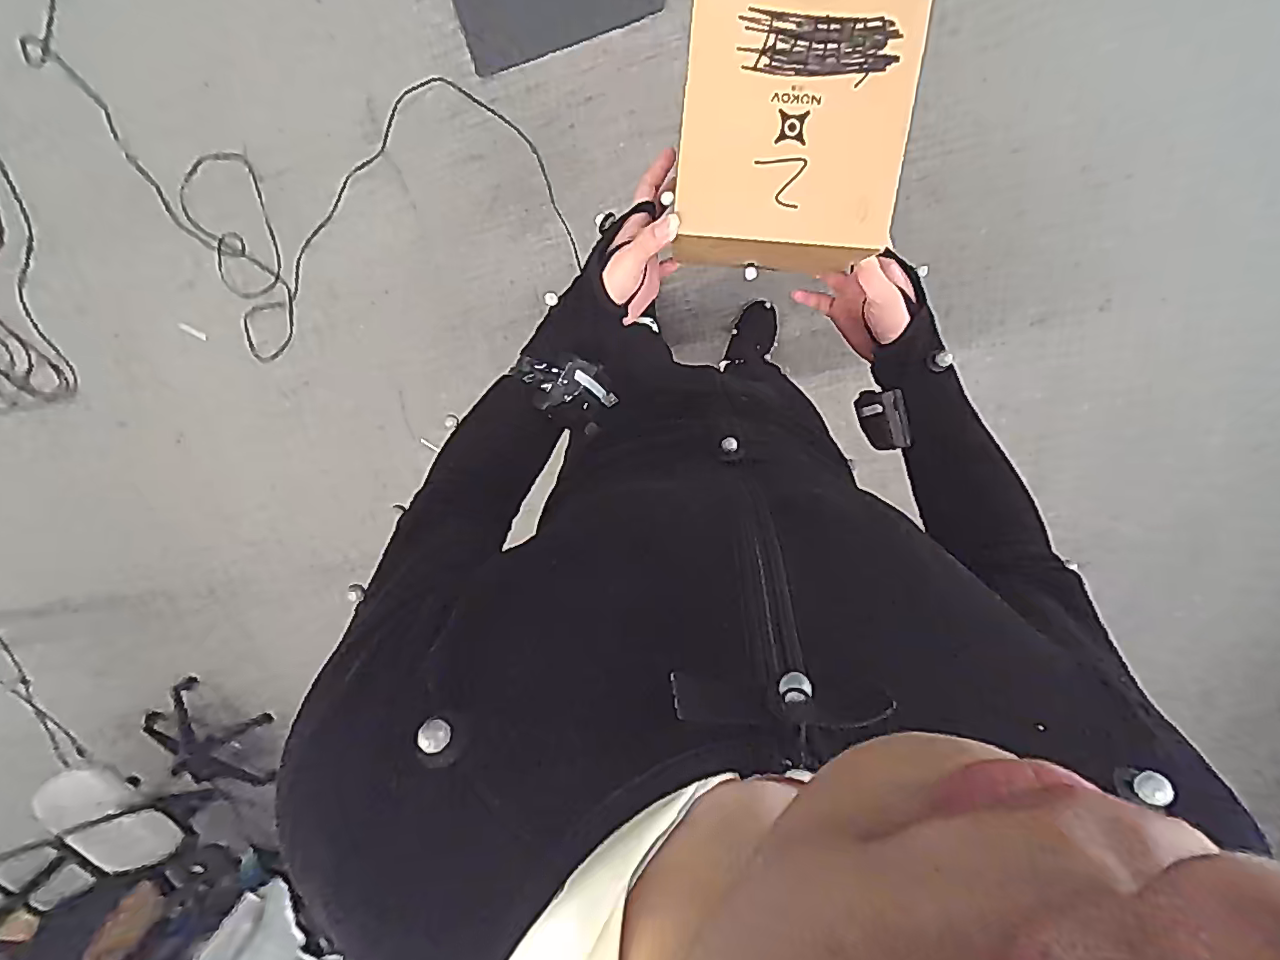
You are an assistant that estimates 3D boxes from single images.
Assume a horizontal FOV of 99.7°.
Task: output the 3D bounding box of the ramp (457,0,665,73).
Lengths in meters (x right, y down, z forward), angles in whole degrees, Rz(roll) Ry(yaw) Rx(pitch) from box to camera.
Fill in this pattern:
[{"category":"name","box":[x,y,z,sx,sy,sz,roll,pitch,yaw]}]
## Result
[{"category":"ramp","box":[-0.292,-1.476,1.064,0.509,0.206,0.991,-12,110,13]}]
